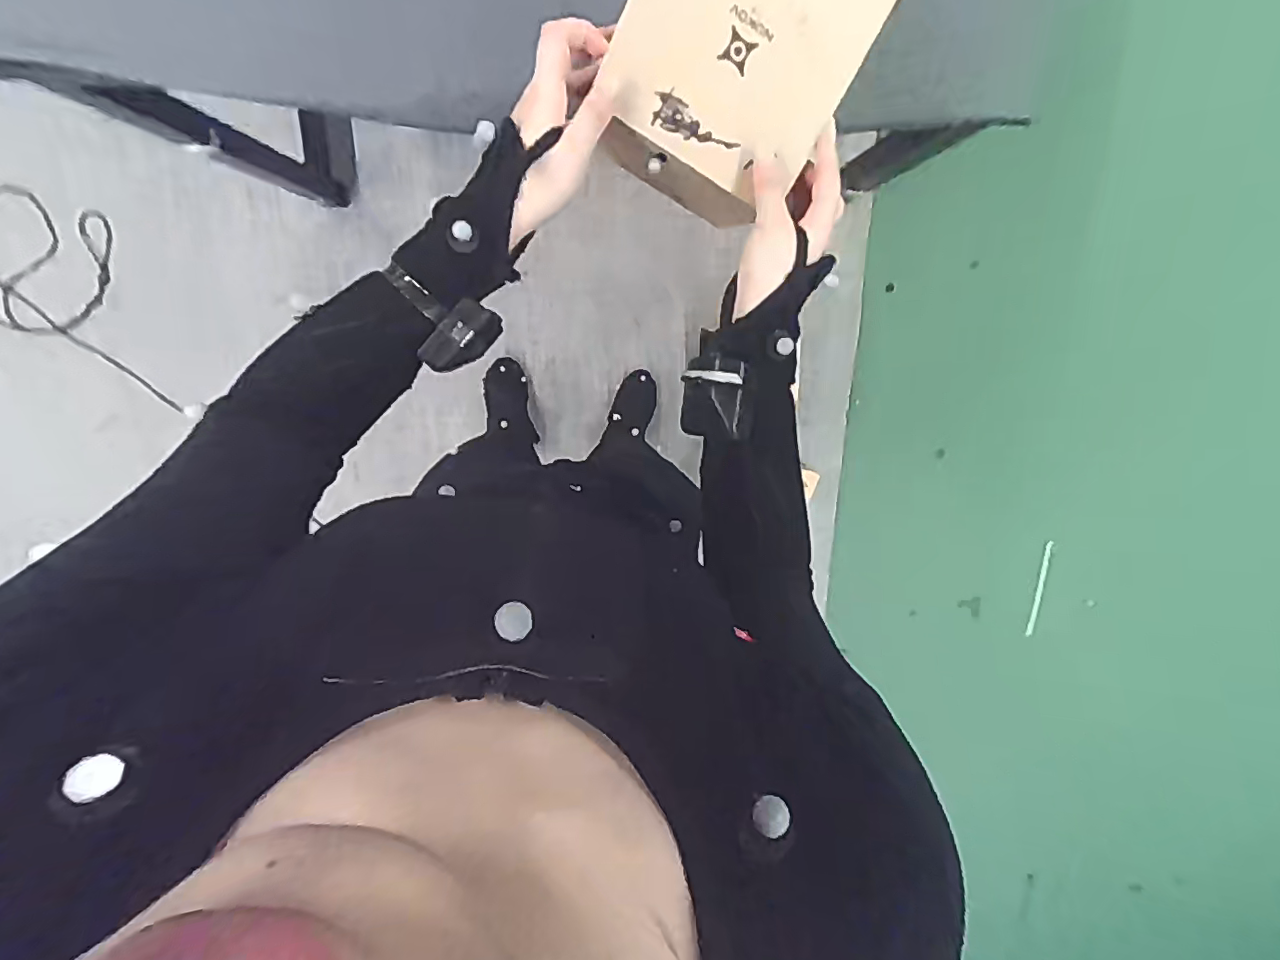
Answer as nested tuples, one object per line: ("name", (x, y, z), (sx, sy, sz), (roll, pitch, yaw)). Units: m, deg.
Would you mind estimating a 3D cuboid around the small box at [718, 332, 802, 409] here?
("small box", (0.290, -0.276, 1.341), (0.168, 0.176, 0.179), (-1, 105, -2))
